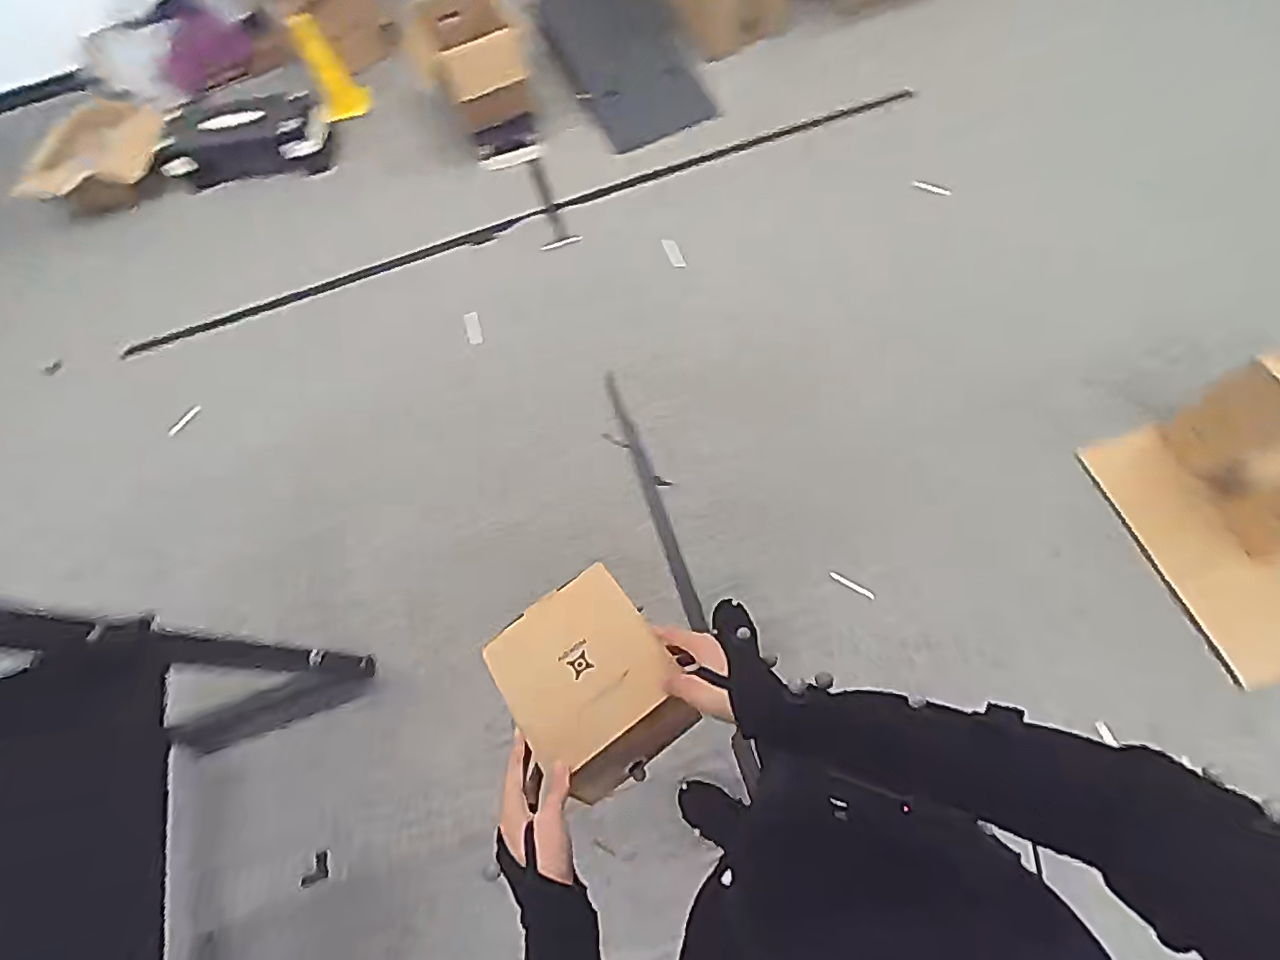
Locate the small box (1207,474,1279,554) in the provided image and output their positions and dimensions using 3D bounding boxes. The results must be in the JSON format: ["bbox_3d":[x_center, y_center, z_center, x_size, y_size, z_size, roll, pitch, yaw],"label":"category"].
[{"bbox_3d":[1.674,0.083,1.409,0.168,0.176,0.179,-17,67,-1],"label":"small box"}]

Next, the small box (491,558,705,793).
[{"bbox_3d":[-0.042,0.231,0.633,0.168,0.176,0.179,-33,54,-12],"label":"small box"}]
